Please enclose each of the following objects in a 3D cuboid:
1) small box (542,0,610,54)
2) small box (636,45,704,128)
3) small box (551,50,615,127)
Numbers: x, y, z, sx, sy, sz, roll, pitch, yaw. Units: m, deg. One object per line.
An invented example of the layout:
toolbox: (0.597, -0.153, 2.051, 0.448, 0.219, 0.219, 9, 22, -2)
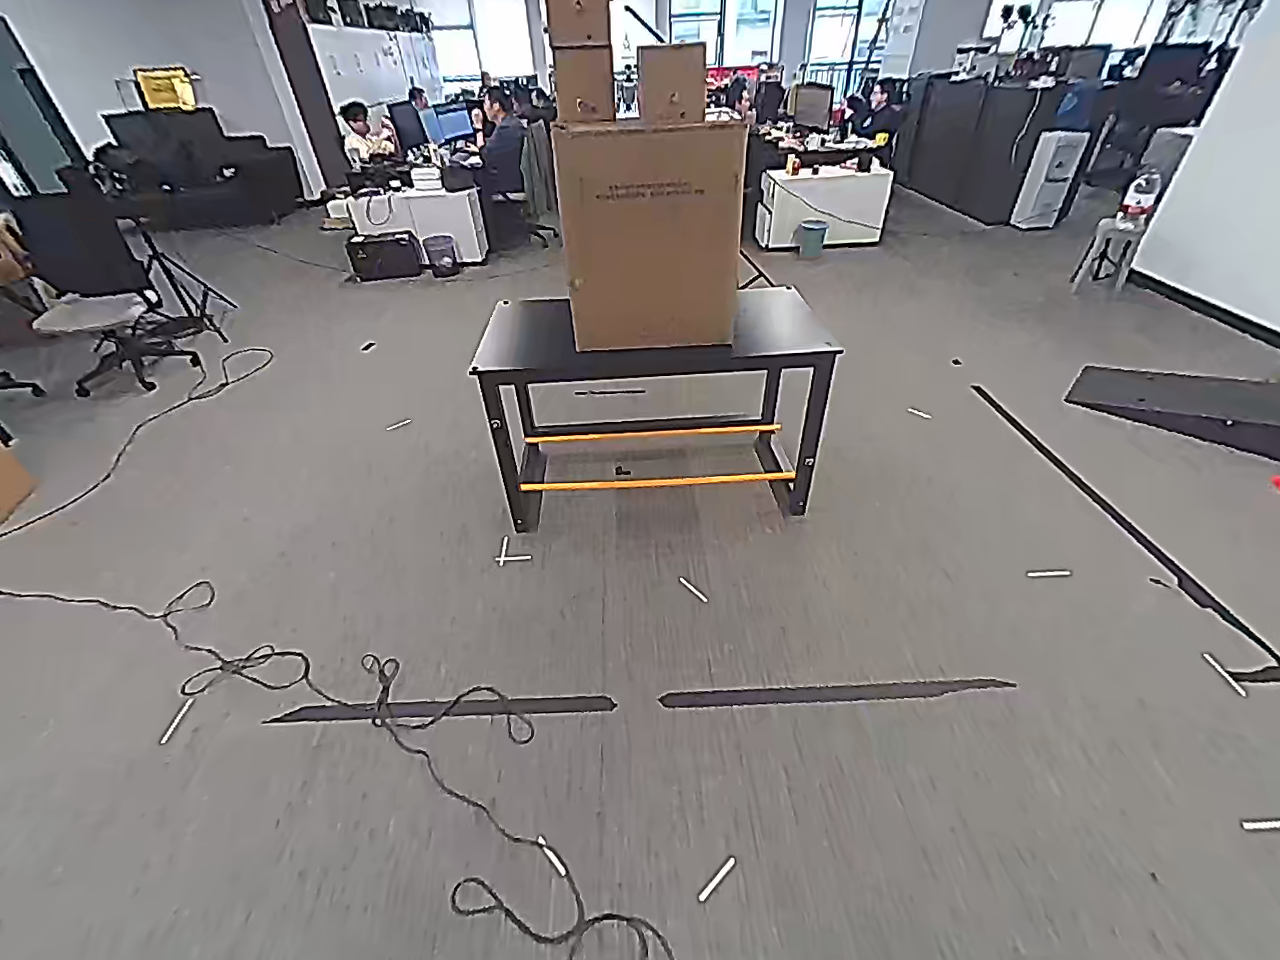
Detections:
small box: (-0.169, -1.237, 1.432, 0.168, 0.176, 0.179, -5, 39, -3)
small box: (0.076, -1.049, 1.445, 0.168, 0.176, 0.179, -5, 39, -1)
small box: (-0.161, -1.118, 1.545, 0.168, 0.176, 0.179, -6, 39, -4)
